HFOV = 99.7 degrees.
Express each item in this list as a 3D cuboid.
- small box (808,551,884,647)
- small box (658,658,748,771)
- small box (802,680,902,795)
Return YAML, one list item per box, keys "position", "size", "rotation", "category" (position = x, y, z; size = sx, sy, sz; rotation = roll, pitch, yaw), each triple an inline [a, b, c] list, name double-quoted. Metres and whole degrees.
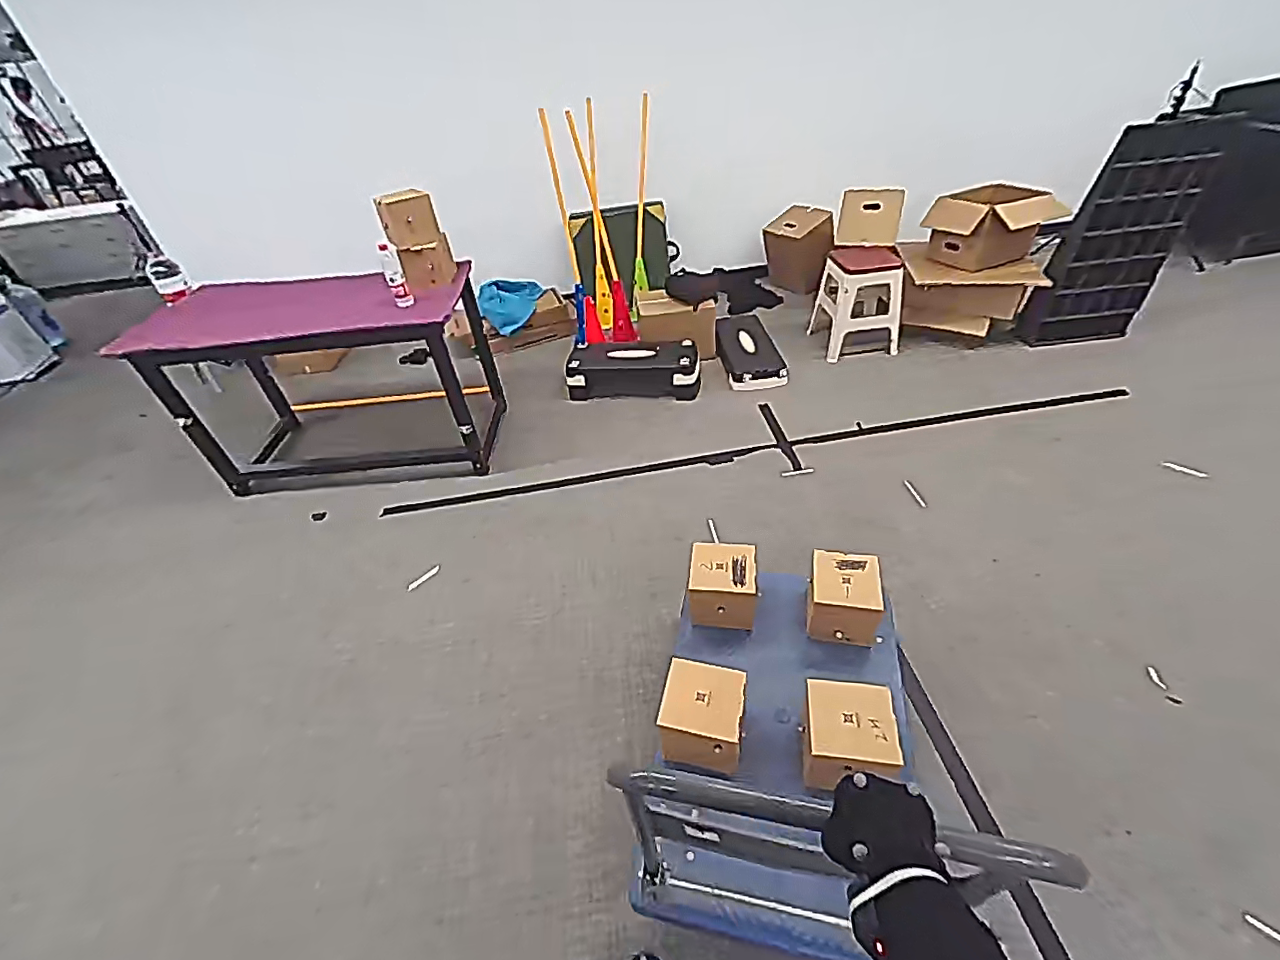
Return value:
- position: [0.542, 0.316, 1.442]
  size: [0.168, 0.176, 0.179]
  rotation: [5, 43, 14]
  category: "small box"
- position: [0.147, 0.539, 1.241]
  size: [0.179, 0.176, 0.168]
  rotation: [8, 42, 14]
  category: "small box"
- position: [0.449, 0.560, 1.174]
  size: [0.179, 0.176, 0.168]
  rotation: [3, 42, 11]
  category: "small box"
